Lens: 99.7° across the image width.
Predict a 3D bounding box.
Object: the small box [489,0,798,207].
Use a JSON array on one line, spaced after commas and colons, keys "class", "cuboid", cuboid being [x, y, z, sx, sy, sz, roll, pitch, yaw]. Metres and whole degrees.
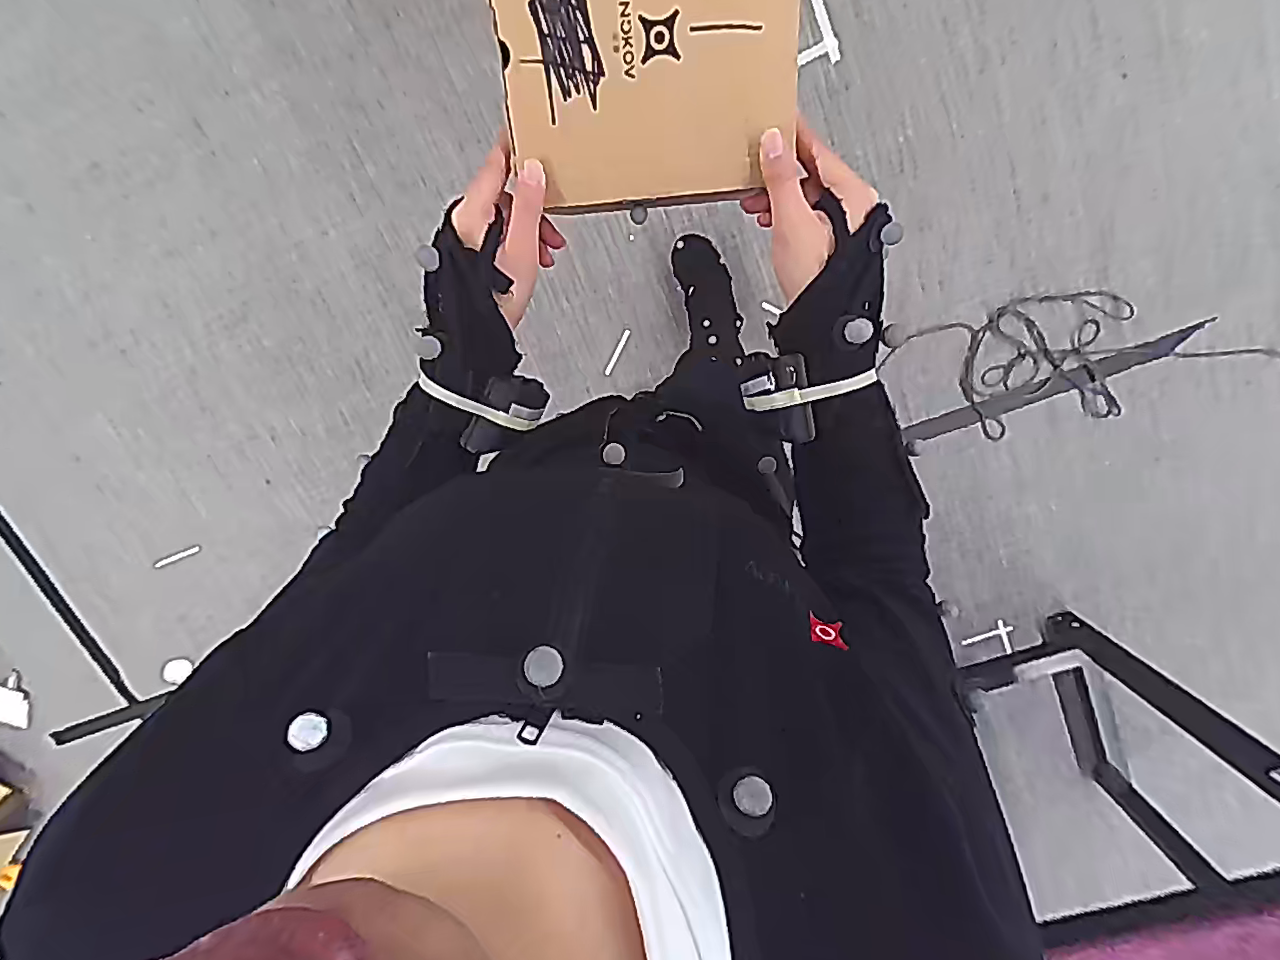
[{"class": "small box", "cuboid": [0.005, -0.291, 0.378, 0.179, 0.176, 0.168, -3, 115, 4]}]
